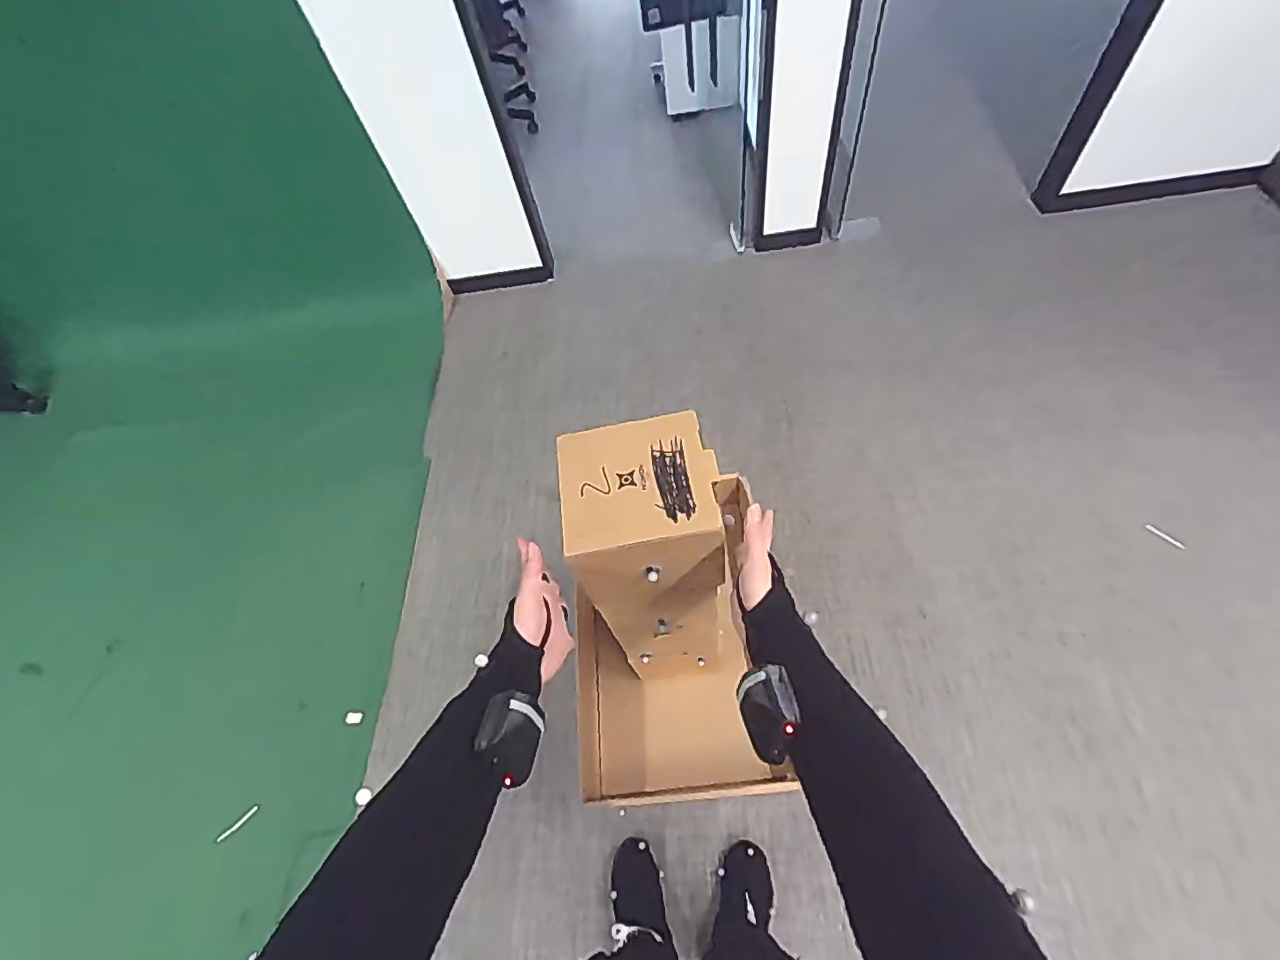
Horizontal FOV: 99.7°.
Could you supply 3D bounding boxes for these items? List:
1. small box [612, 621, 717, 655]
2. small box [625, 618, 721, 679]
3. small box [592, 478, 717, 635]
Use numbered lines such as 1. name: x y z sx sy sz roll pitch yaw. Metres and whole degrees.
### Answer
1. small box: 0.046 0.205 0.960 0.168 0.176 0.179 -6 57 5
2. small box: 0.066 0.296 1.095 0.179 0.176 0.168 -7 57 4
3. small box: 0.023 0.120 0.820 0.168 0.176 0.179 -7 57 5
